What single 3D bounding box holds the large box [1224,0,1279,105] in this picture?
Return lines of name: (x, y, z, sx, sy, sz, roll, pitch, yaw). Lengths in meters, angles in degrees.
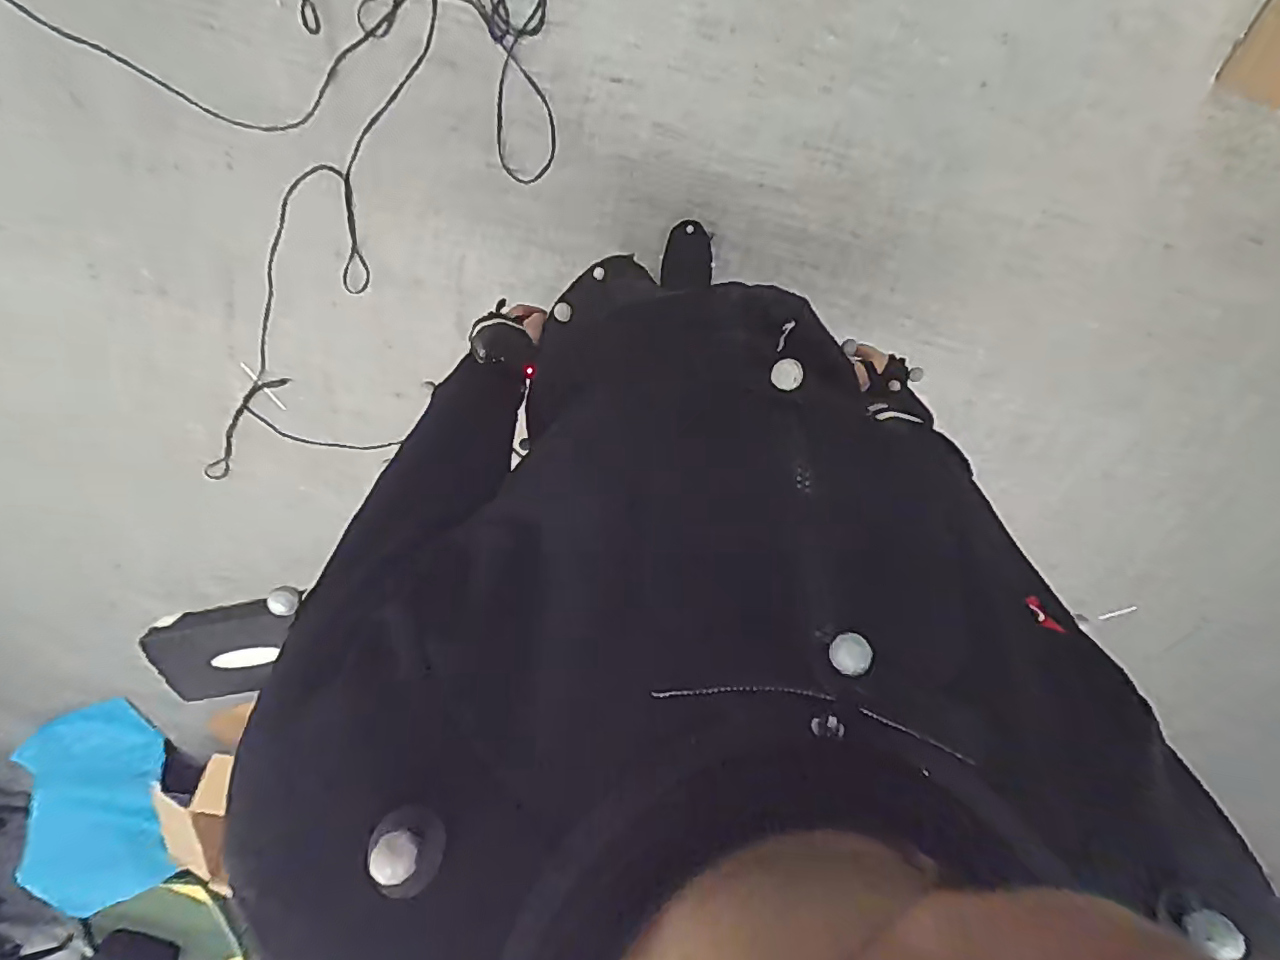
large box: (1.285, -0.812, 0.812, 0.320, 0.320, 0.408, 18, 116, -5)
